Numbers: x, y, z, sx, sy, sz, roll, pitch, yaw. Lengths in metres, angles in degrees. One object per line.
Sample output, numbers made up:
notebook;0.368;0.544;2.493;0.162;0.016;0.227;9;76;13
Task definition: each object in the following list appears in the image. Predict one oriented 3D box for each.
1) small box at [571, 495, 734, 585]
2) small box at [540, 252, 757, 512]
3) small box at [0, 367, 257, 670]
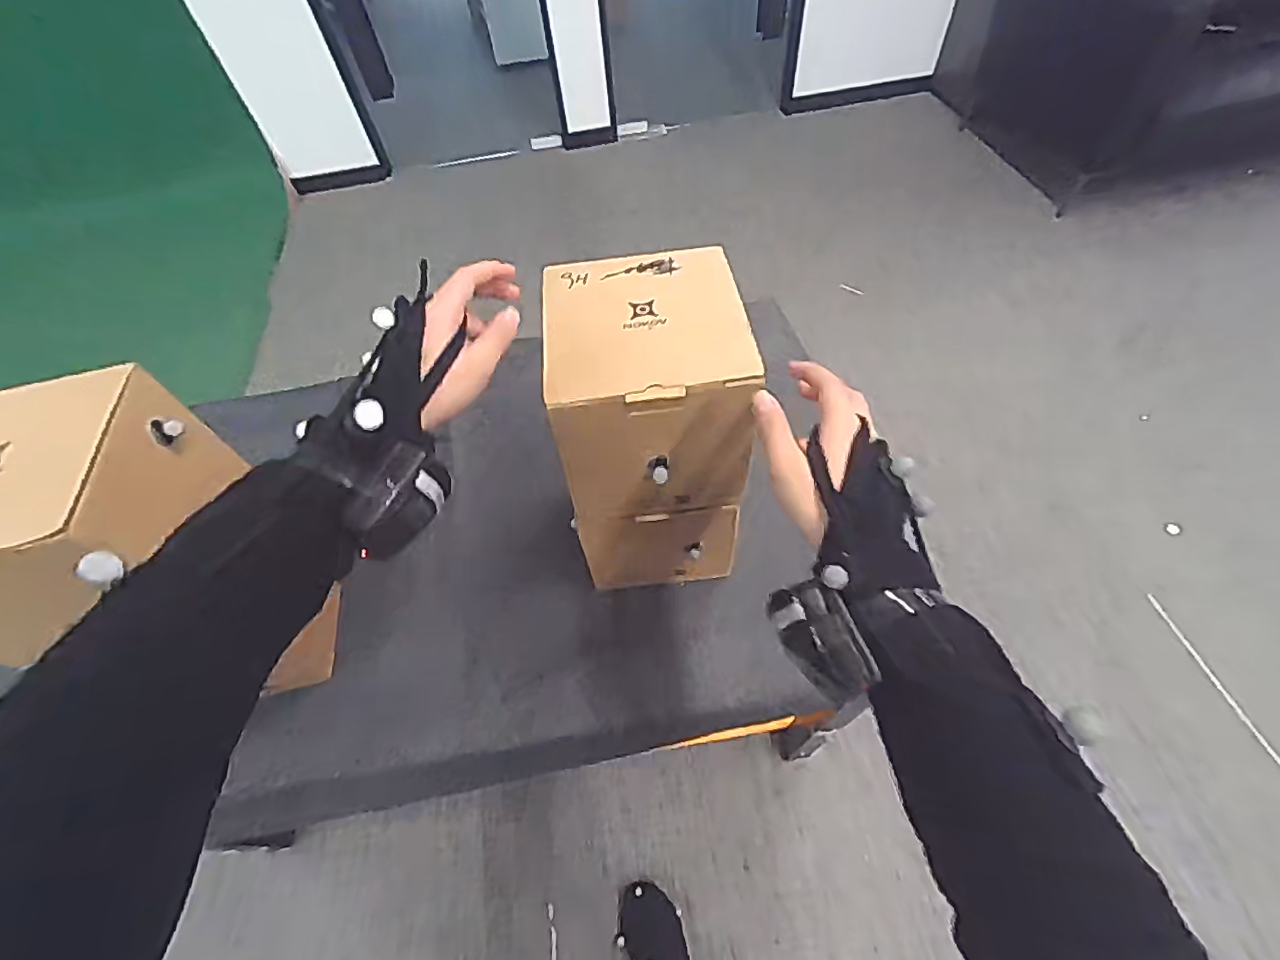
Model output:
small box;0.012;0.014;0.642;0.168;0.176;0.179;-6;54;0
small box;0.005;-0.081;0.509;0.168;0.176;0.179;-7;56;-1
small box;-0.469;0.037;0.463;0.168;0.176;0.179;-15;56;-5
